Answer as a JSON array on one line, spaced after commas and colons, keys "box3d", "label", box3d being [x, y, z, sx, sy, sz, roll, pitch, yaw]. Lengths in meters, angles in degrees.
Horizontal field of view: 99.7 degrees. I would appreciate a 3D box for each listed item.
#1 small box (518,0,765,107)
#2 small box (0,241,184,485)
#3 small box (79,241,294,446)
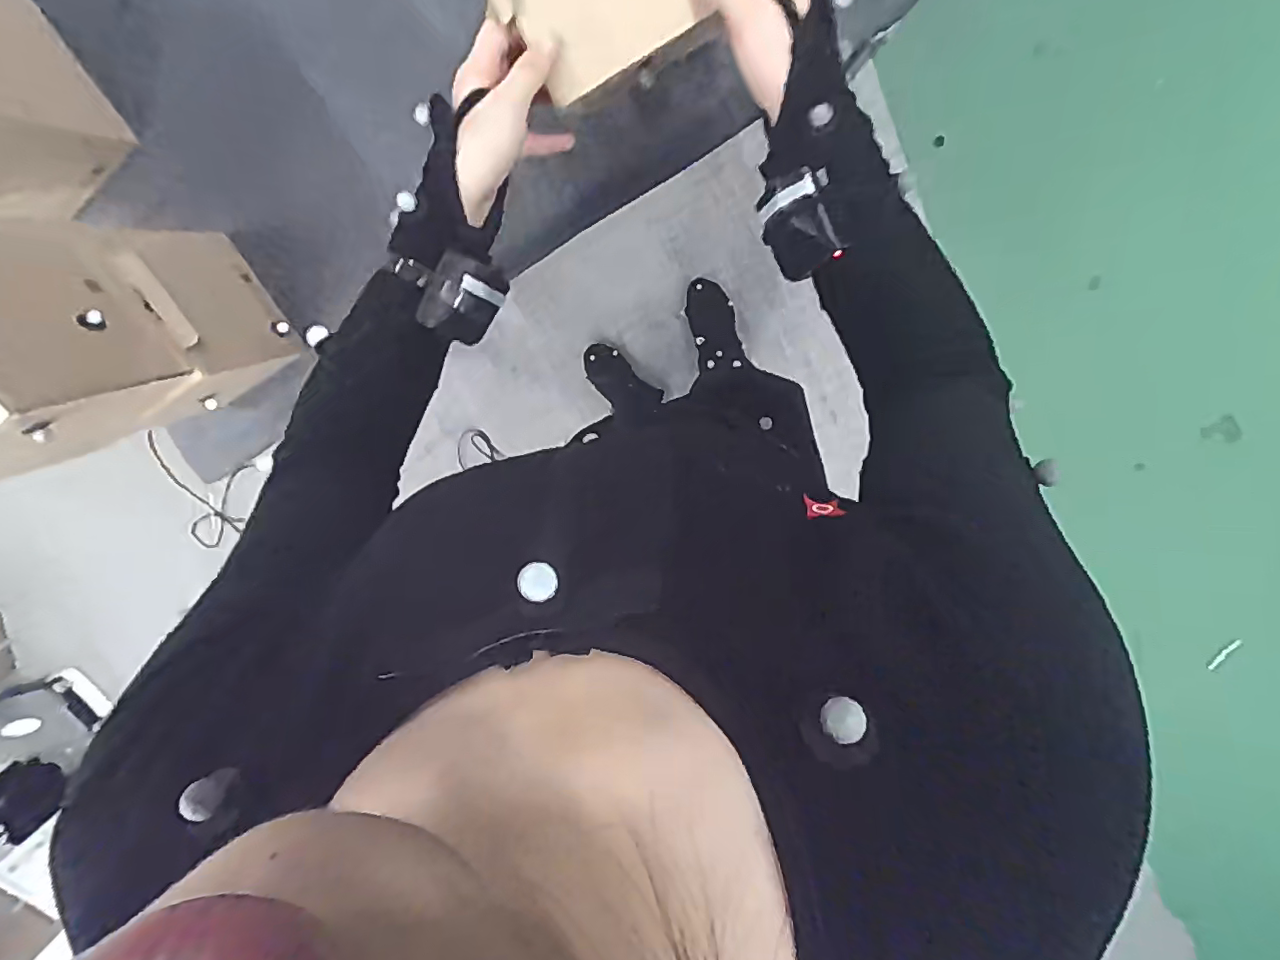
[{"box3d": [-0.005, -0.407, 0.404, 0.179, 0.176, 0.168, -20, 120, 16], "label": "small box"}, {"box3d": [-0.600, -0.103, 0.510, 0.179, 0.176, 0.168, -29, 107, 17], "label": "small box"}, {"box3d": [-0.567, -0.171, 0.655, 0.179, 0.176, 0.168, -24, 108, 17], "label": "small box"}]
